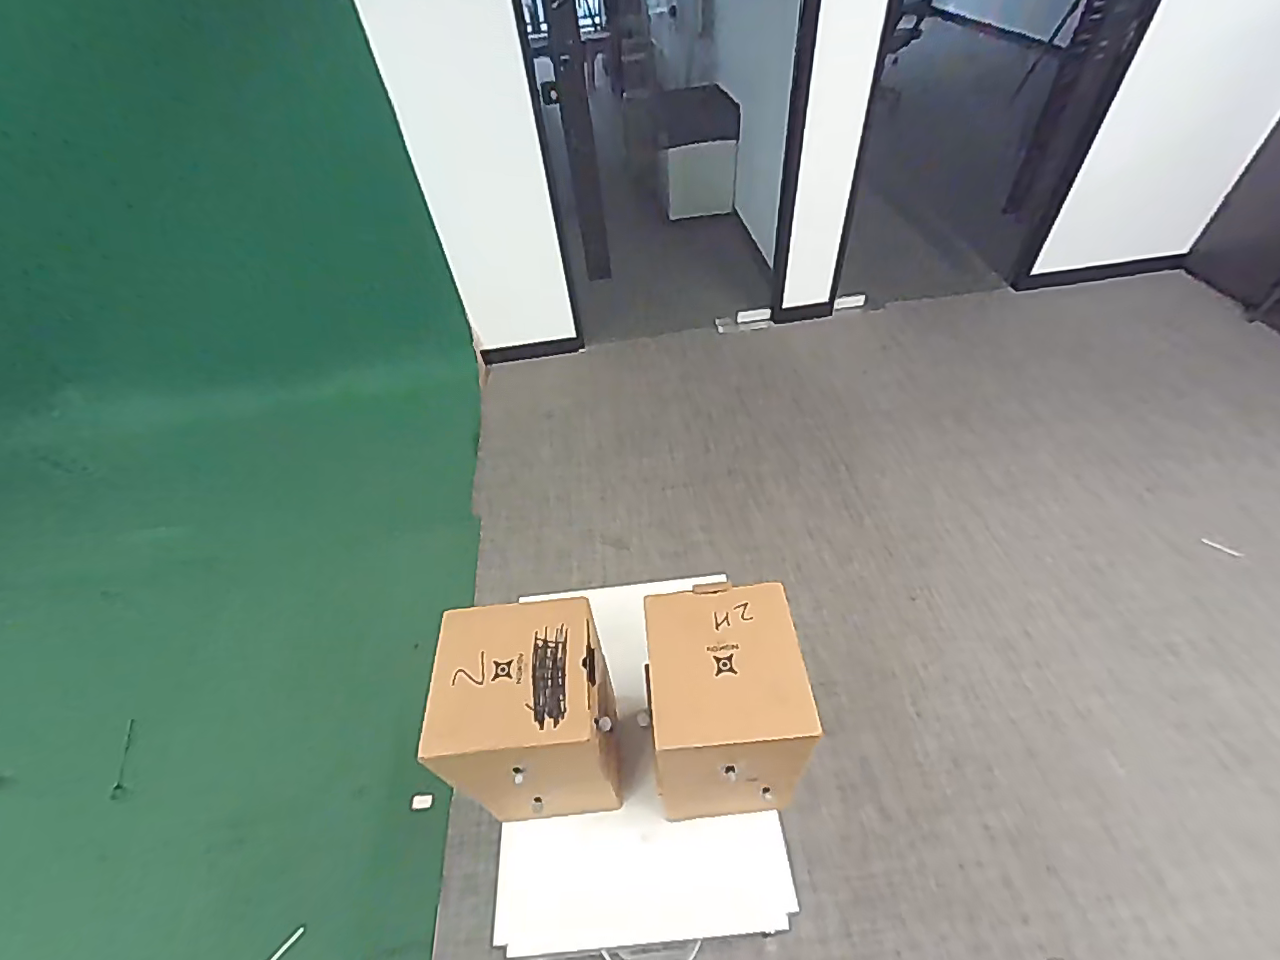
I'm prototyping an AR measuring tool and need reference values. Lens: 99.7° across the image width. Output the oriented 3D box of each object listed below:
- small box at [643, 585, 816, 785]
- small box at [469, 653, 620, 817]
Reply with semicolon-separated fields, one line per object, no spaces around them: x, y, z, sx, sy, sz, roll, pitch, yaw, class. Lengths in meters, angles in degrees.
0.094;0.248;0.641;0.168;0.176;0.179;-5;48;1;small box
-0.126;0.369;0.776;0.179;0.176;0.168;-6;48;-1;small box
